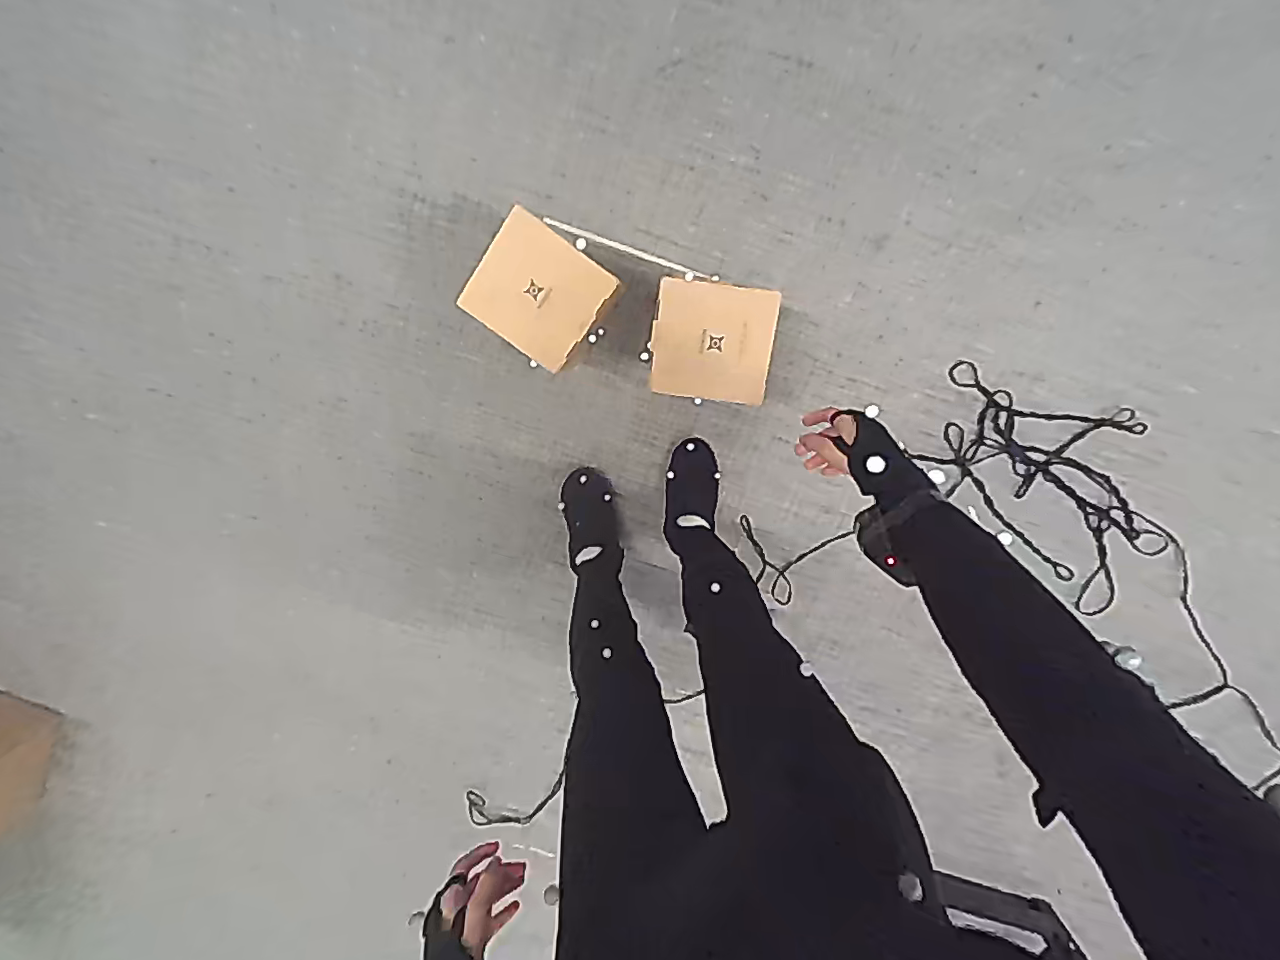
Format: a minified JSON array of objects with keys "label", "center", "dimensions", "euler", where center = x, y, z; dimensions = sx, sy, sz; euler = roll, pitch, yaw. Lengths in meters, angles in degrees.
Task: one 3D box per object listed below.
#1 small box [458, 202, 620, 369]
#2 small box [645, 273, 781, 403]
[{"label":"small box","center":[-0.147,-0.294,0.848],"dimensions":[0.179,0.176,0.168],"euler":[35,103,-9]},{"label":"small box","center":[0.106,-0.225,0.860],"dimensions":[0.179,0.176,0.168],"euler":[7,107,0]}]
